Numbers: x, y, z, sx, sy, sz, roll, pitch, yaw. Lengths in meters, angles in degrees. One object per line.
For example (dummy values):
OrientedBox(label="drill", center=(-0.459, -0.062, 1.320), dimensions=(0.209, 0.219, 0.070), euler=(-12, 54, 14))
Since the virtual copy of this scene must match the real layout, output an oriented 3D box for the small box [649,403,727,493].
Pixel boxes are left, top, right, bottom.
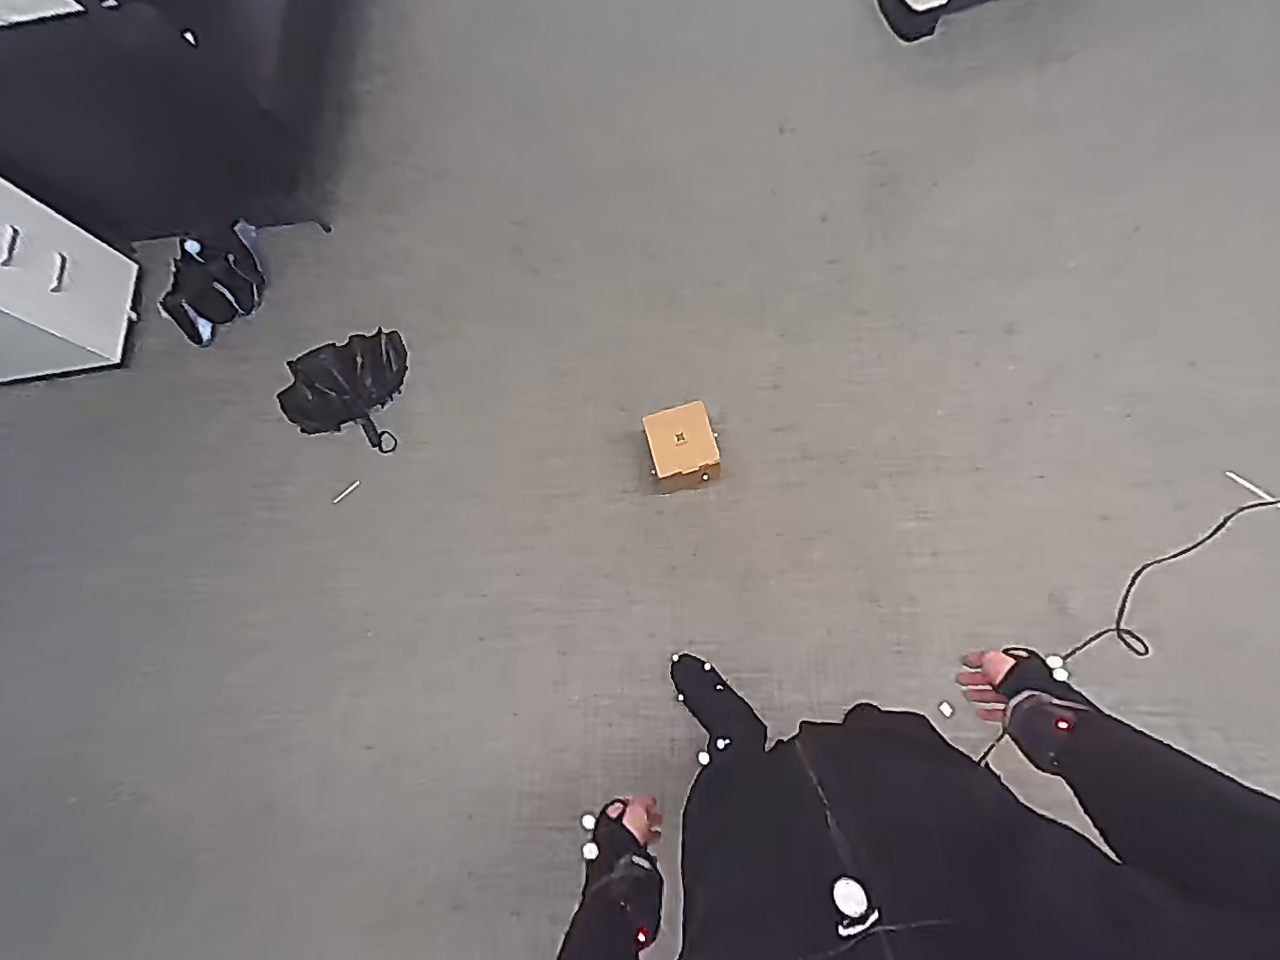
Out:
OrientedBox(label="small box", center=(0.133, -0.076, 1.453), dimensions=(0.168, 0.176, 0.179), euler=(-17, 71, 4))
